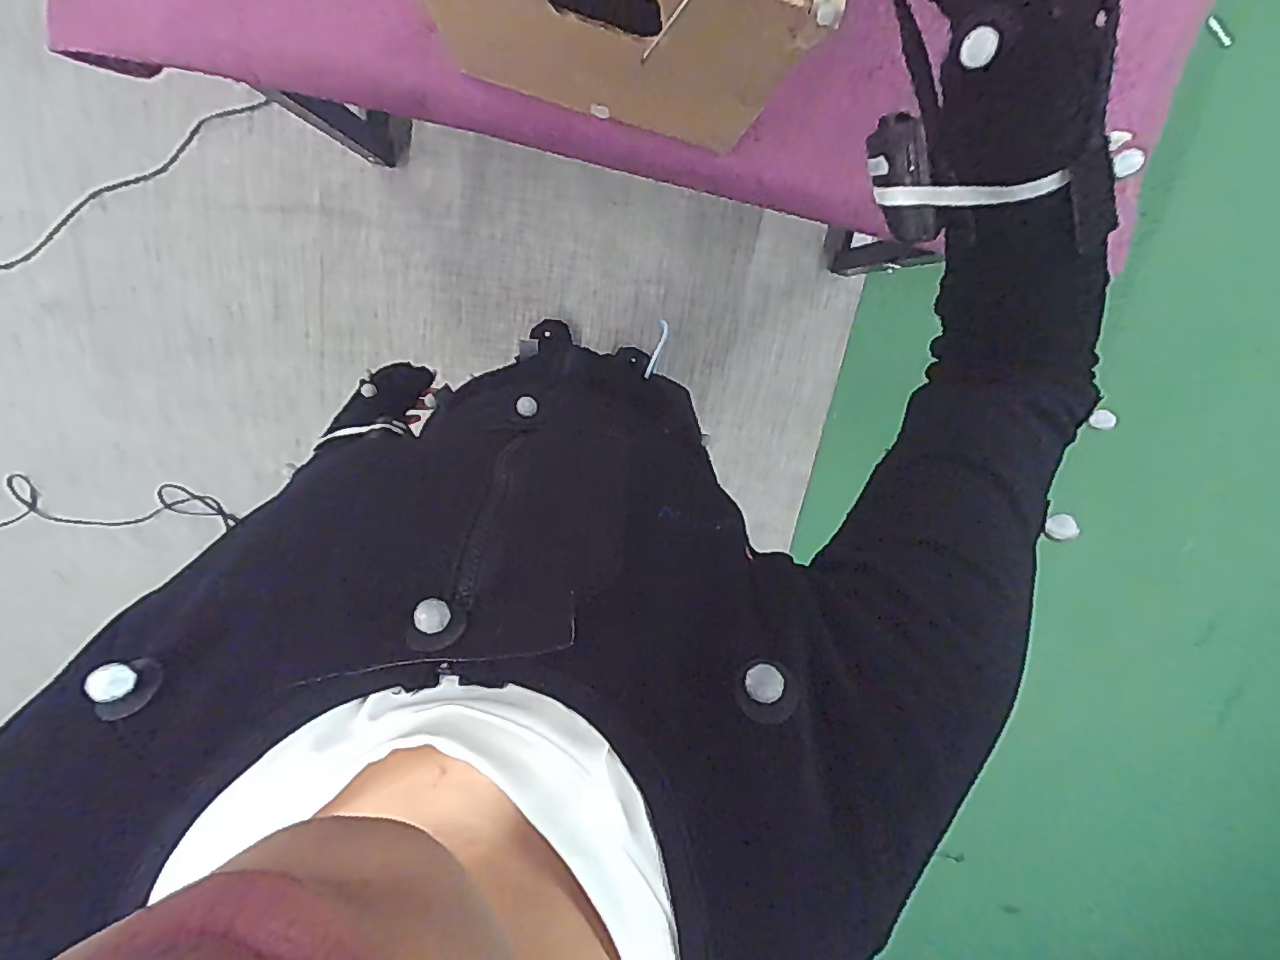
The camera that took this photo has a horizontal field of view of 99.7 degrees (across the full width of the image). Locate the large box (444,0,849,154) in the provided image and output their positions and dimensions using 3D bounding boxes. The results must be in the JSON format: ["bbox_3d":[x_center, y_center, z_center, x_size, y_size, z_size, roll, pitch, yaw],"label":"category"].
[{"bbox_3d":[0.022,-0.563,0.438,0.320,0.320,0.408,13,106,-8],"label":"large box"}]
